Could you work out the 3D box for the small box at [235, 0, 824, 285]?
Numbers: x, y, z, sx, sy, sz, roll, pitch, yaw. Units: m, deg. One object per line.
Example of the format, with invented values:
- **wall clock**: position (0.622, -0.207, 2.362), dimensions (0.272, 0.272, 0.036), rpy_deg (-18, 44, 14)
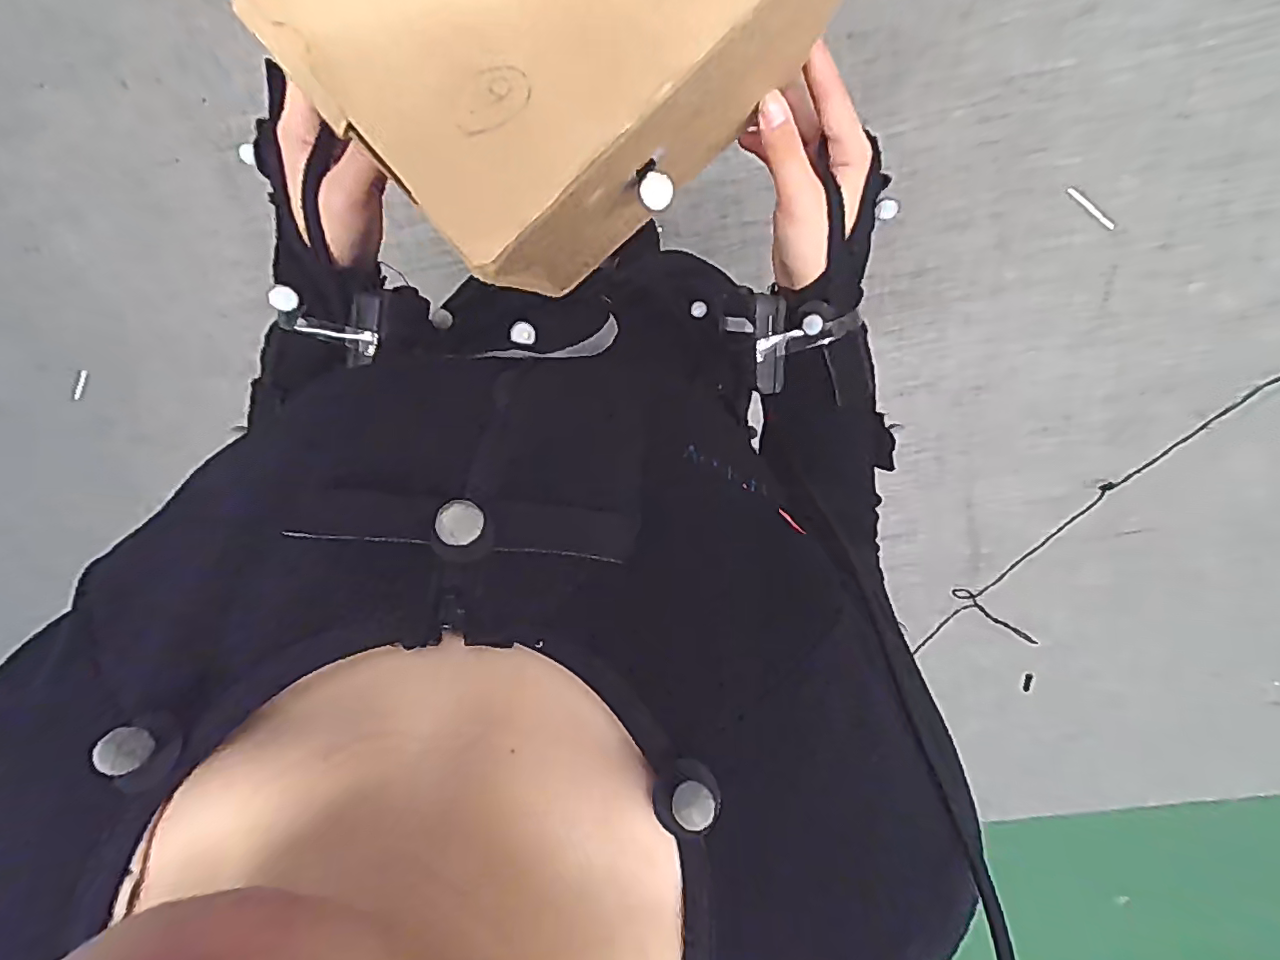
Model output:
- **small box**: position (-0.035, -0.202, 0.226), dimensions (0.179, 0.176, 0.168), rpy_deg (-38, 102, 12)
